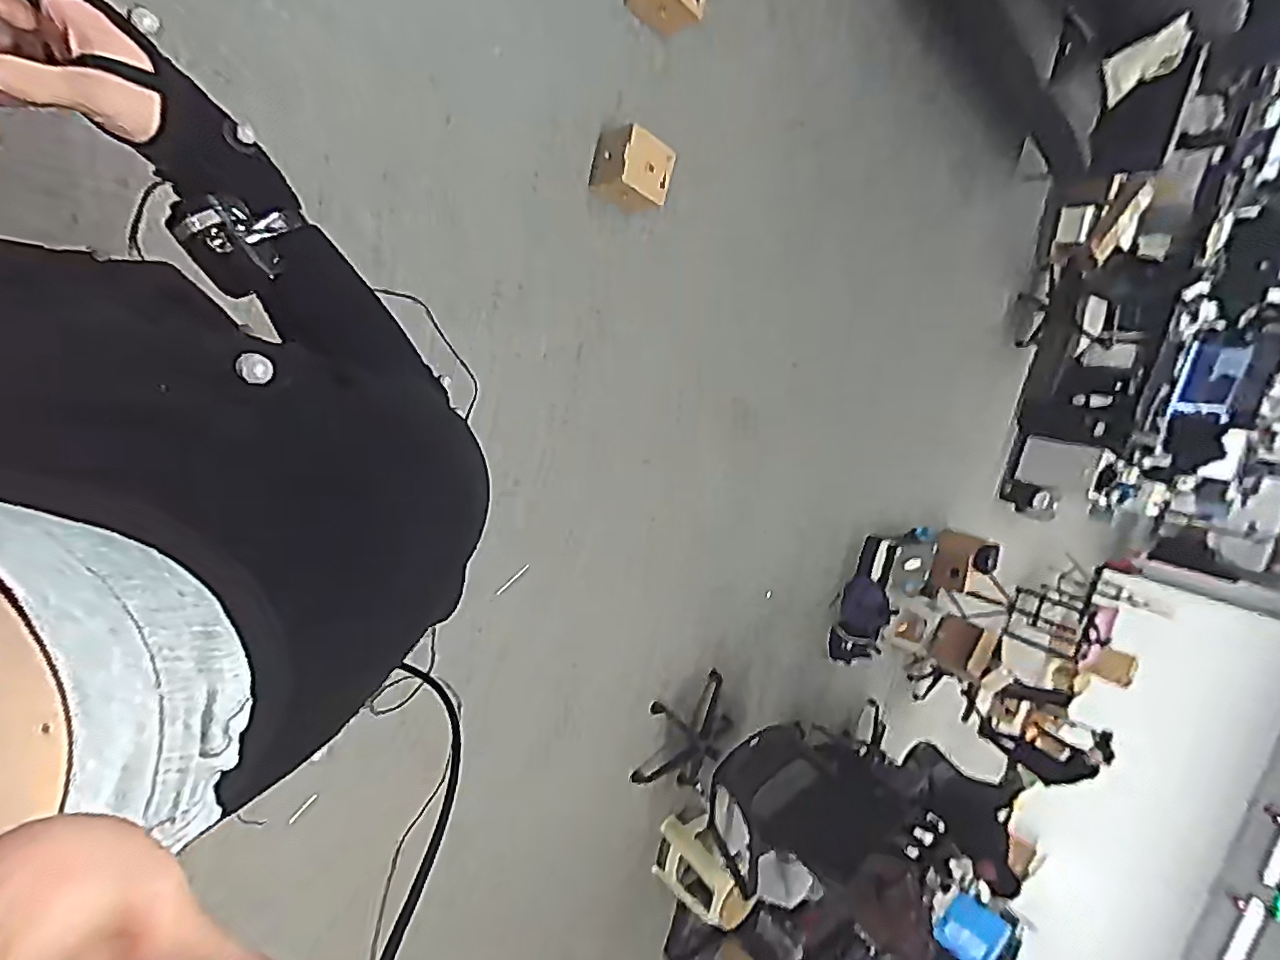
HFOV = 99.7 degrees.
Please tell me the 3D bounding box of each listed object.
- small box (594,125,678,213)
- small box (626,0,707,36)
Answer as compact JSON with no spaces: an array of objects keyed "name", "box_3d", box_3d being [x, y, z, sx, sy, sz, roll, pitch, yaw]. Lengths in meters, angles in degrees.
[{"name":"small box","box_3d":[-0.017,-0.945,1.664,0.179,0.176,0.168,9,98,-40]},{"name":"small box","box_3d":[0.087,-1.450,1.580,0.179,0.176,0.168,6,100,-39]}]
